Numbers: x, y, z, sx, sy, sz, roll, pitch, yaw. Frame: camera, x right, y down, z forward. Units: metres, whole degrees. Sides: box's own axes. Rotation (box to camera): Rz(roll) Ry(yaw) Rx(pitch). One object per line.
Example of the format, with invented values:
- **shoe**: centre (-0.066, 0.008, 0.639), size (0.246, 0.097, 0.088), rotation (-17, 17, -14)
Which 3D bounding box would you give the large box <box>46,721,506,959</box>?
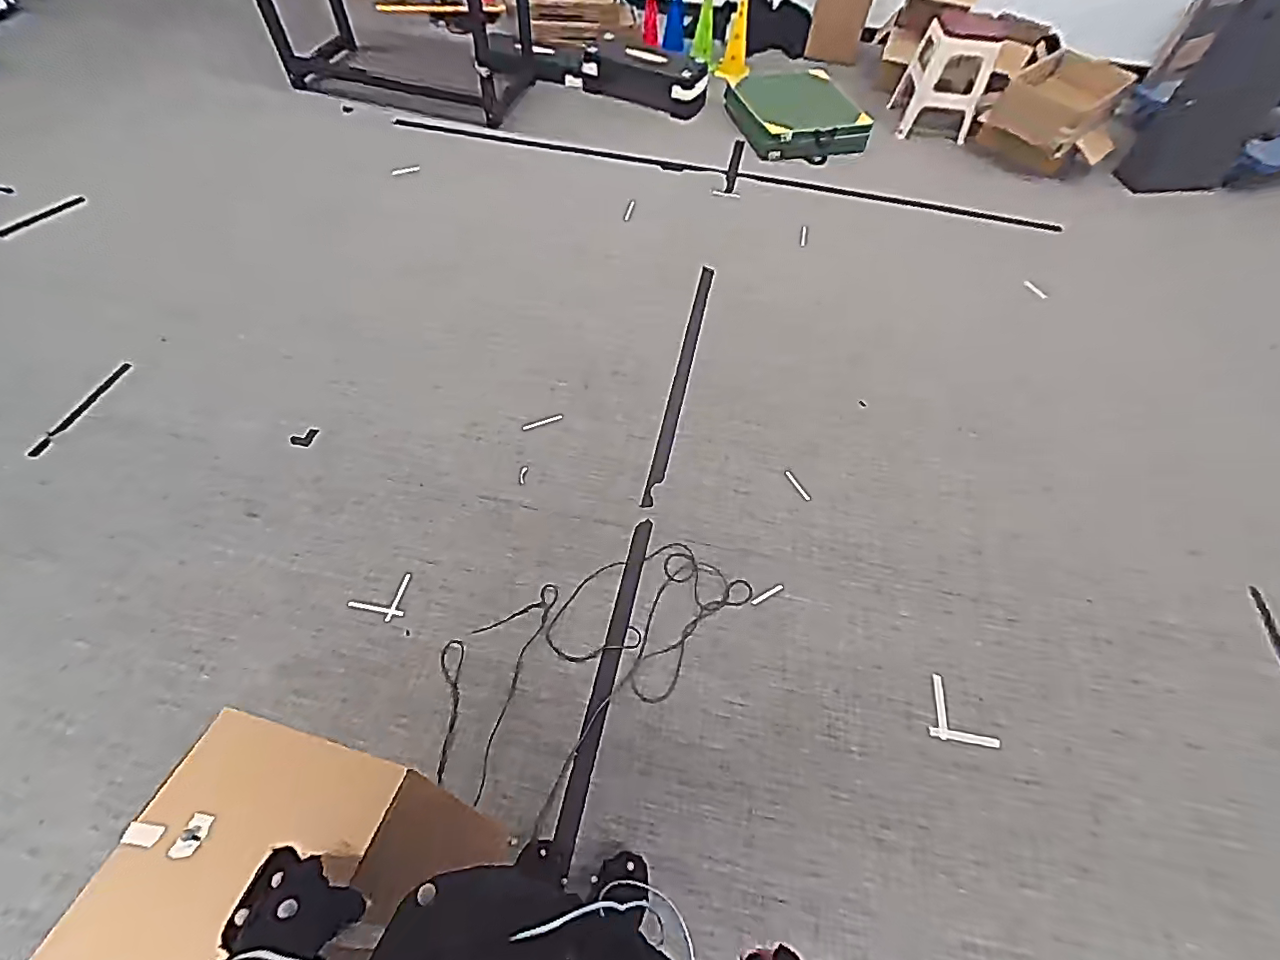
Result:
- **large box**: centre (-0.448, 0.585, 0.754), size (0.320, 0.408, 0.320), rotation (8, 50, 18)
